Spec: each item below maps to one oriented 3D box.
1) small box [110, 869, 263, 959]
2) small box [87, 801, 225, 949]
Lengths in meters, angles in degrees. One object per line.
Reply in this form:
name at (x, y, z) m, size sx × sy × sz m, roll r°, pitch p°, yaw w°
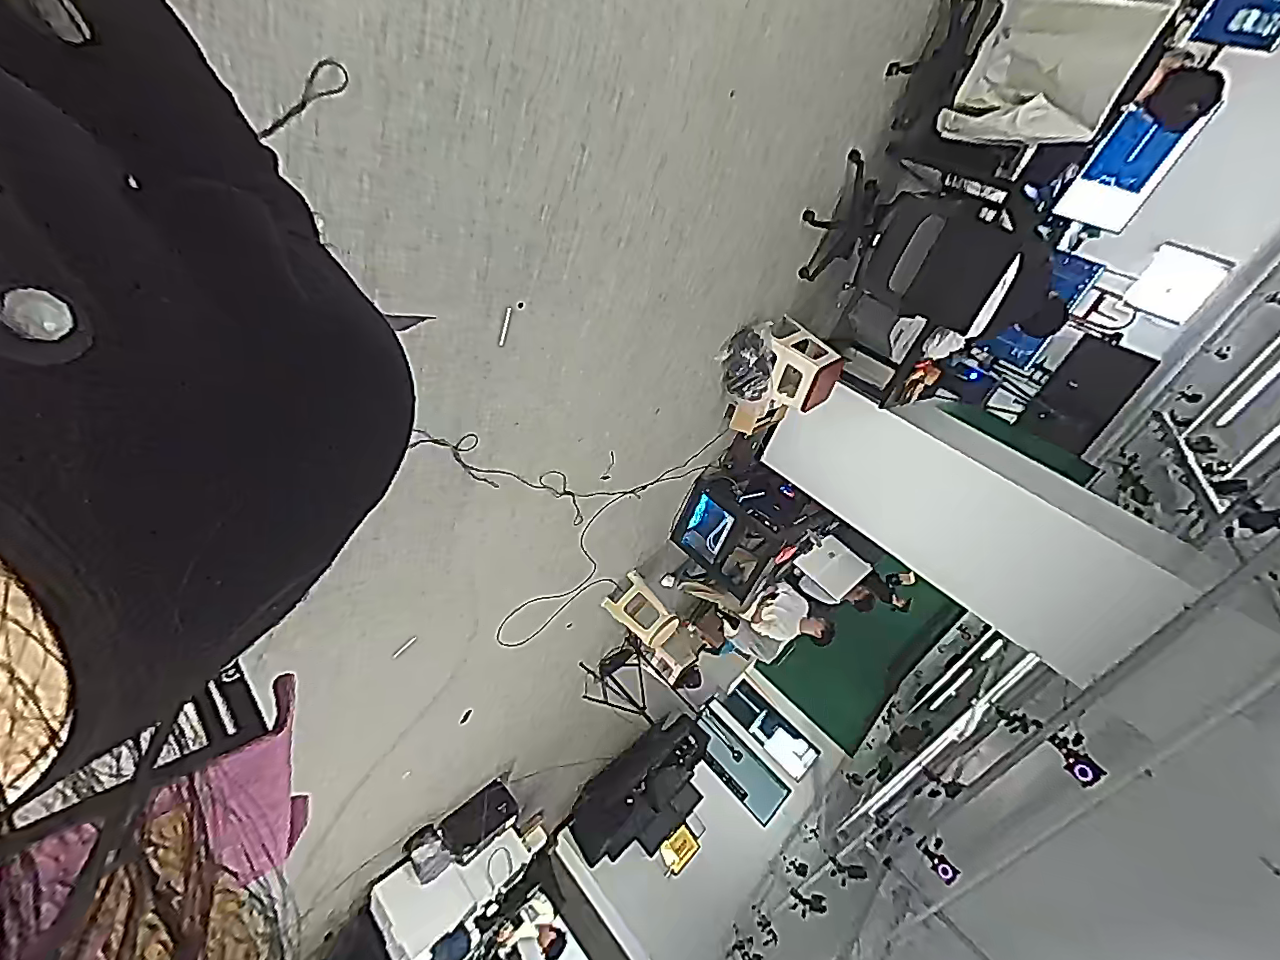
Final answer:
small box at (-0.803, 0.856, 0.965) m, size 0.179 × 0.176 × 0.168 m, roll -21°, pitch 143°, yaw -45°
small box at (-0.914, 0.762, 1.035) m, size 0.168 × 0.176 × 0.179 m, roll -20°, pitch 140°, yaw -46°
